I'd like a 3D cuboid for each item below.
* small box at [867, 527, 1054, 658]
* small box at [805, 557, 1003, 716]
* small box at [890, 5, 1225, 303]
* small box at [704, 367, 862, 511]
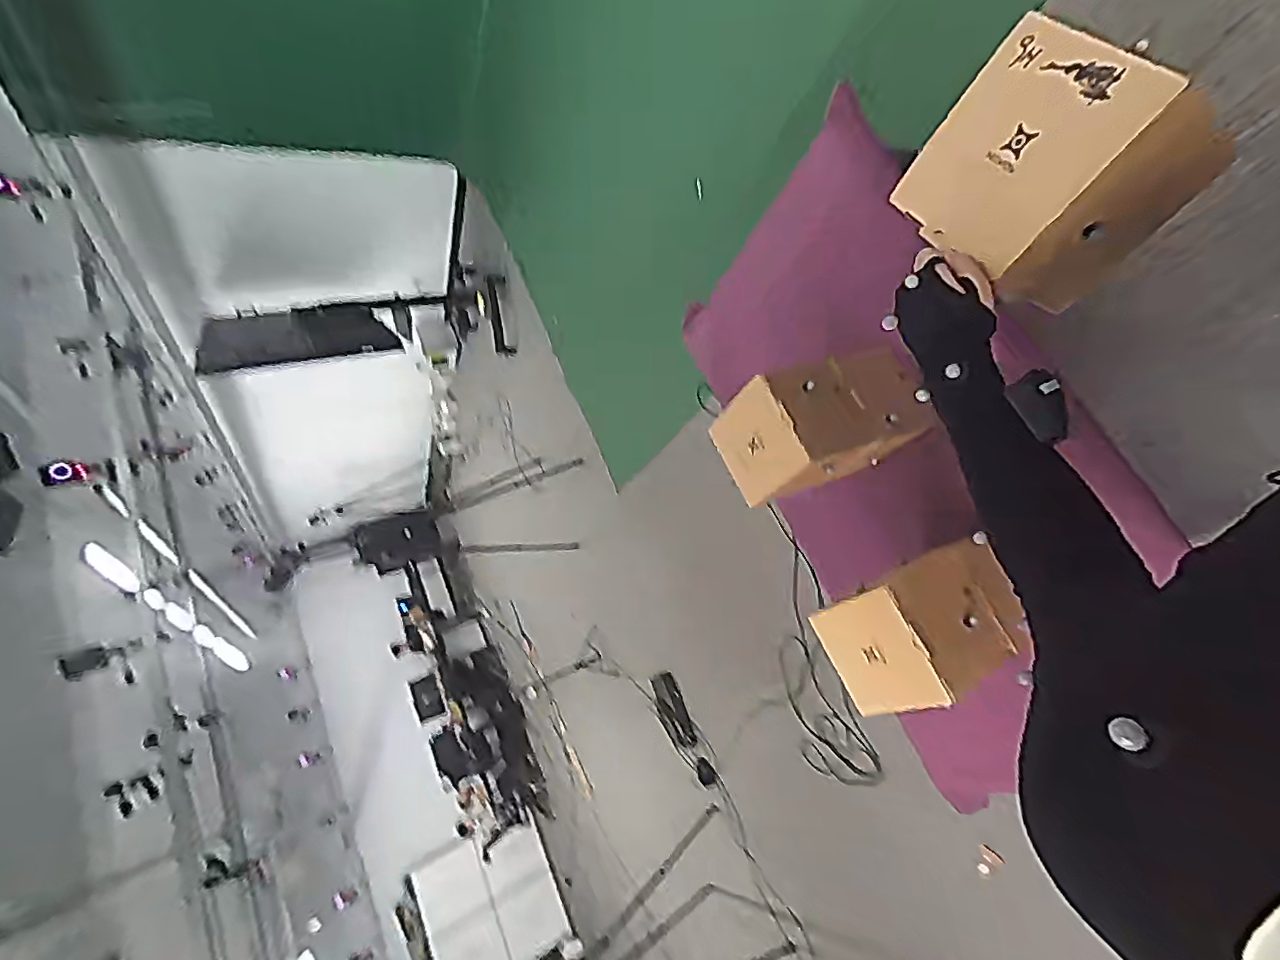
[{"bbox_3d":[0.533,0.199,0.907,0.168,0.176,0.179,64,148,16],"label":"small box"},{"bbox_3d":[0.397,0.238,0.826,0.168,0.176,0.179,64,147,18],"label":"small box"},{"bbox_3d":[0.400,-0.301,0.533,0.179,0.176,0.168,-55,48,40],"label":"small box"},{"bbox_3d":[0.247,-0.073,0.924,0.168,0.176,0.179,64,149,17],"label":"small box"}]
